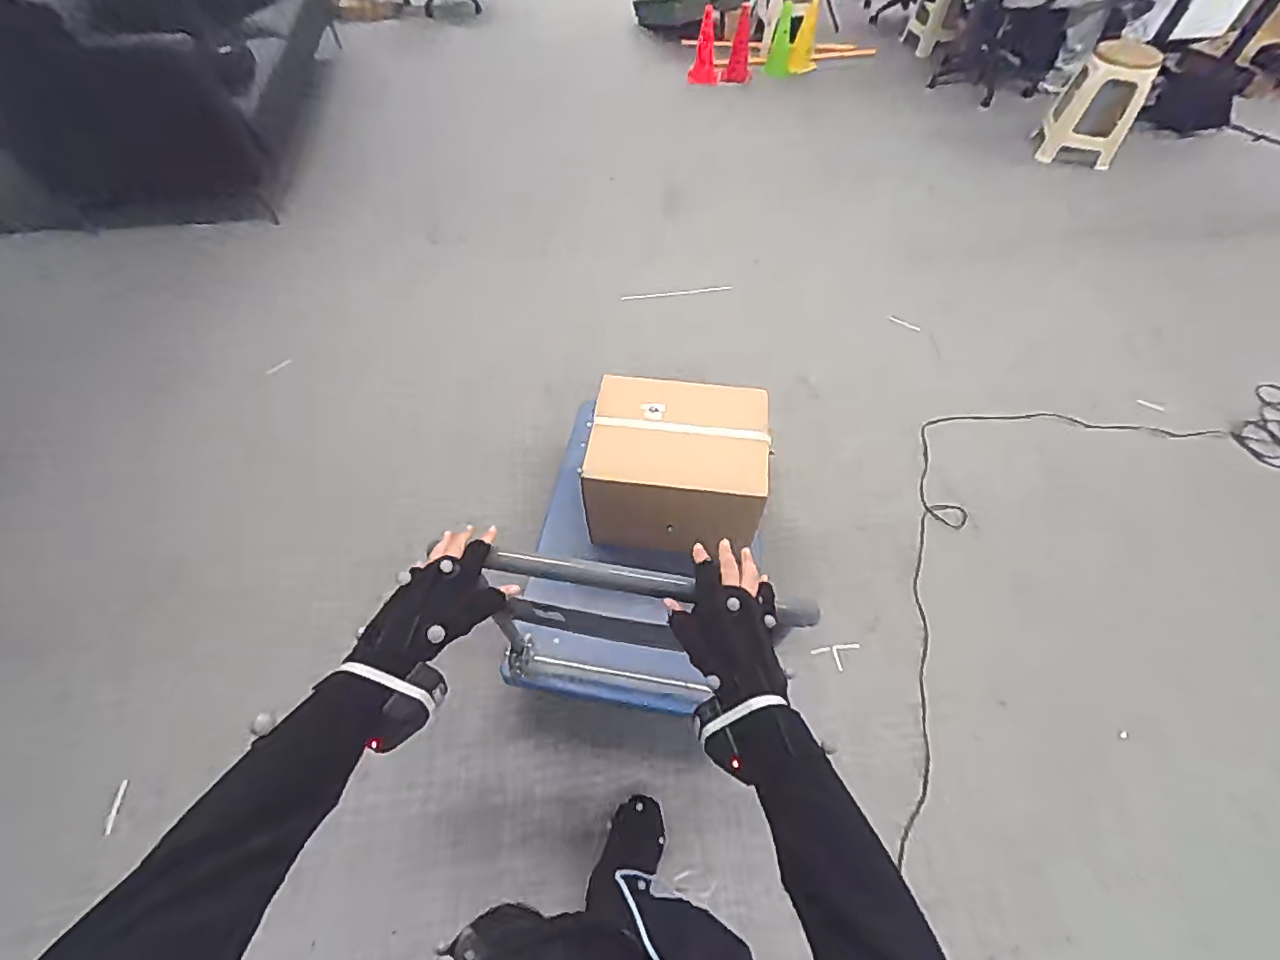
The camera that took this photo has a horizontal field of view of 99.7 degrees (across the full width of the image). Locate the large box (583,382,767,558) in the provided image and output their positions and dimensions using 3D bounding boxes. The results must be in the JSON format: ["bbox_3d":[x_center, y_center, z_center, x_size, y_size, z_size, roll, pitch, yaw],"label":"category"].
[{"bbox_3d":[0.095,-0.020,1.361,0.408,0.320,0.320,5,55,6],"label":"large box"}]
